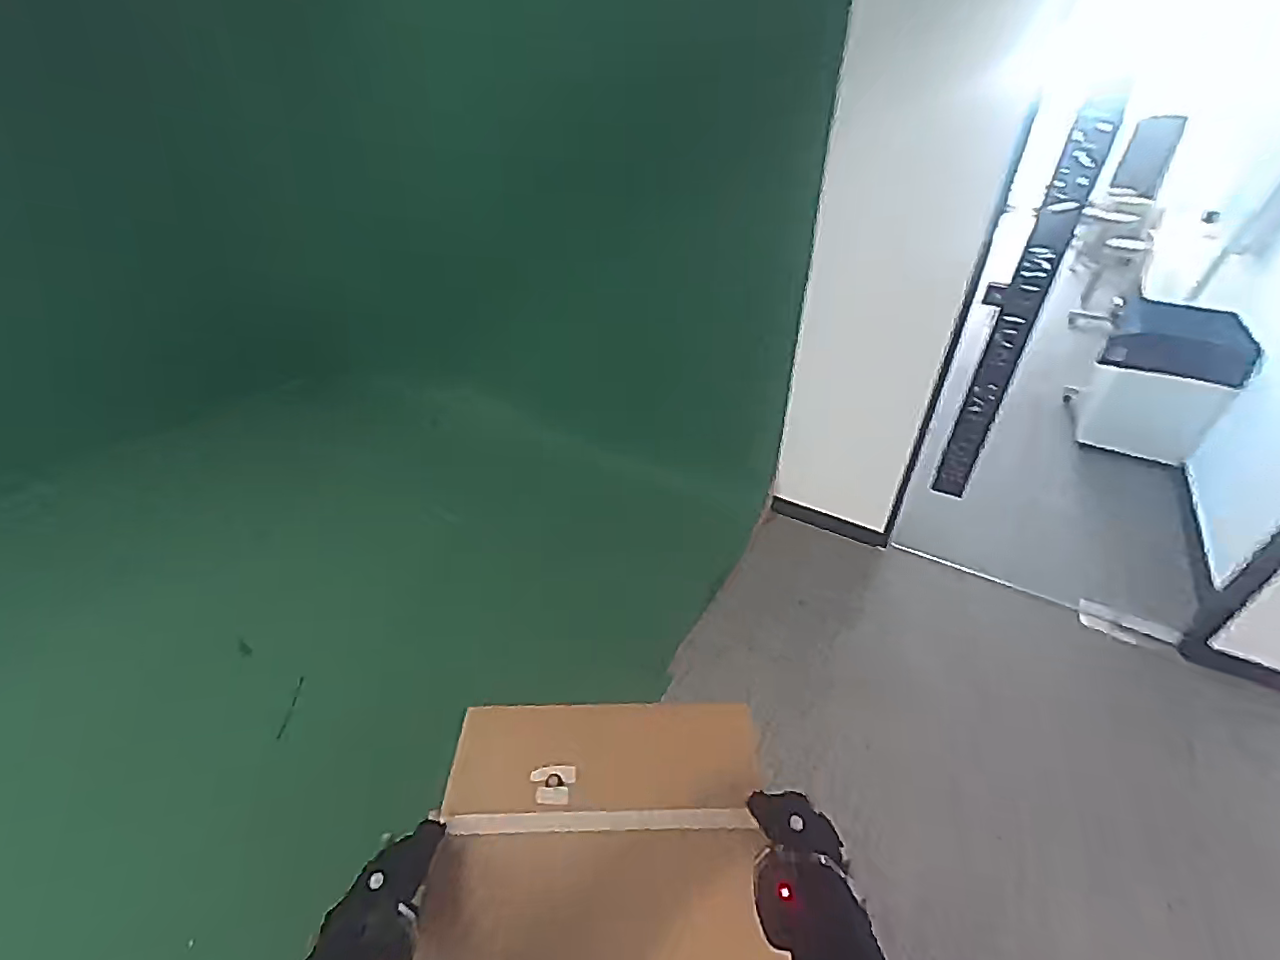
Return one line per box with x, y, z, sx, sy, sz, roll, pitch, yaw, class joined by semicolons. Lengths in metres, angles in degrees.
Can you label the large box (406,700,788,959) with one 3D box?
-0.048;0.536;0.752;0.408;0.320;0.320;-2;38;-1;large box
